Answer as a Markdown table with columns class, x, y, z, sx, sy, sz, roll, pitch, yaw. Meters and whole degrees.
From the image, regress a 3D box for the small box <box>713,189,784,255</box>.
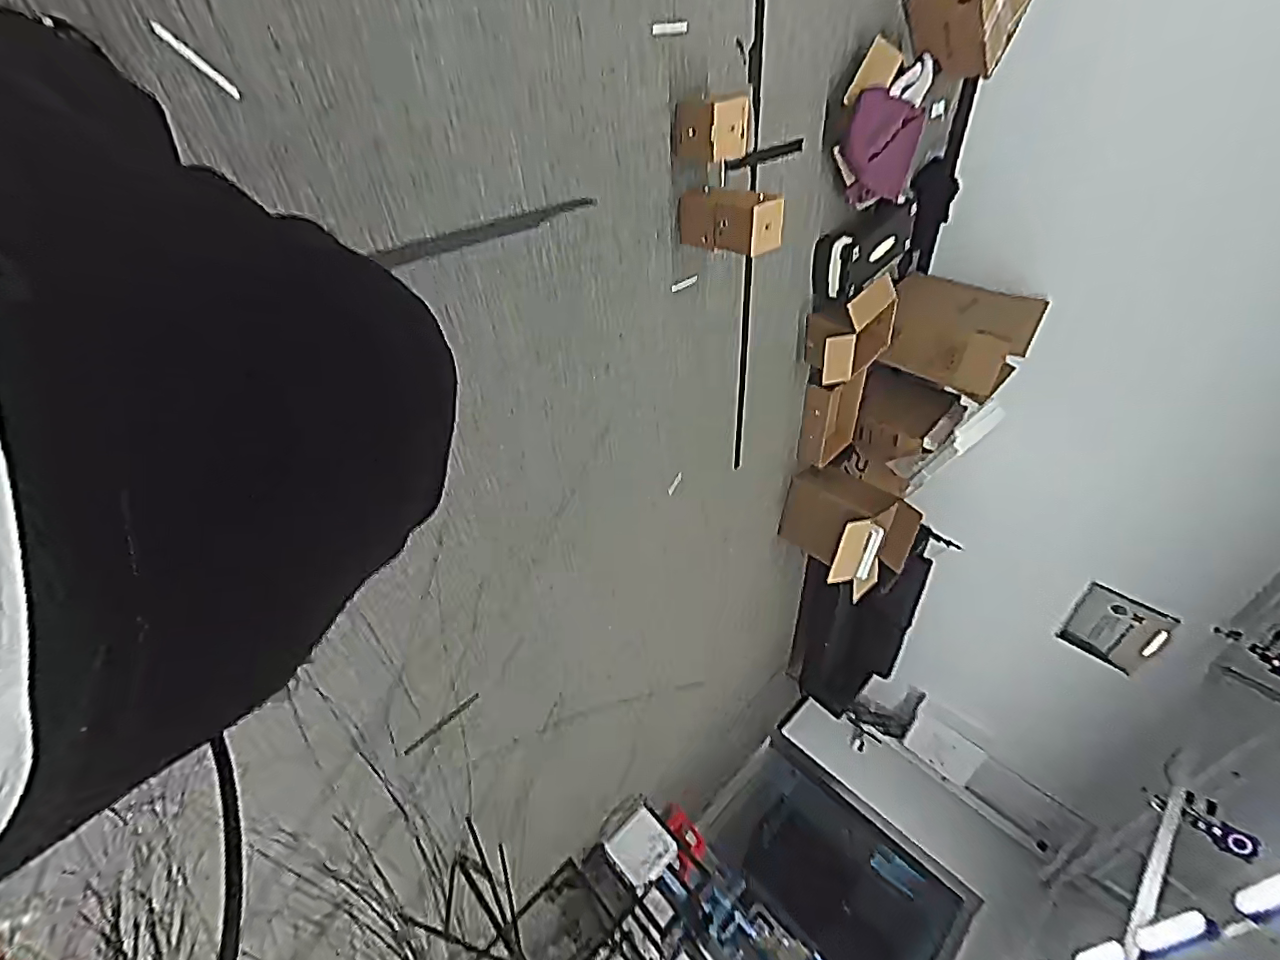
| class | x | y | z | sx | sy | sz | roll | pitch | yaw |
| --- | --- | --- | --- | --- | --- | --- | --- | --- | --- |
| small box | 0.380 | -0.918 | 1.911 | 0.179 | 0.176 | 0.168 | -32 | 137 | -29 |

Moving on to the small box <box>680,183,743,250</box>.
| class | x | y | z | sx | sy | sz | roll | pitch | yaw |
| --- | --- | --- | --- | --- | --- | --- | --- | --- | --- |
| small box | 0.260 | -0.980 | 2.003 | 0.168 | 0.176 | 0.179 | -35 | 139 | -29 |

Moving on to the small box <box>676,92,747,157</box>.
| class | x | y | z | sx | sy | sz | roll | pitch | yaw |
| --- | --- | --- | --- | --- | --- | --- | --- | --- | --- |
| small box | 0.235 | -1.193 | 1.812 | 0.179 | 0.176 | 0.168 | -32 | 137 | -31 |
